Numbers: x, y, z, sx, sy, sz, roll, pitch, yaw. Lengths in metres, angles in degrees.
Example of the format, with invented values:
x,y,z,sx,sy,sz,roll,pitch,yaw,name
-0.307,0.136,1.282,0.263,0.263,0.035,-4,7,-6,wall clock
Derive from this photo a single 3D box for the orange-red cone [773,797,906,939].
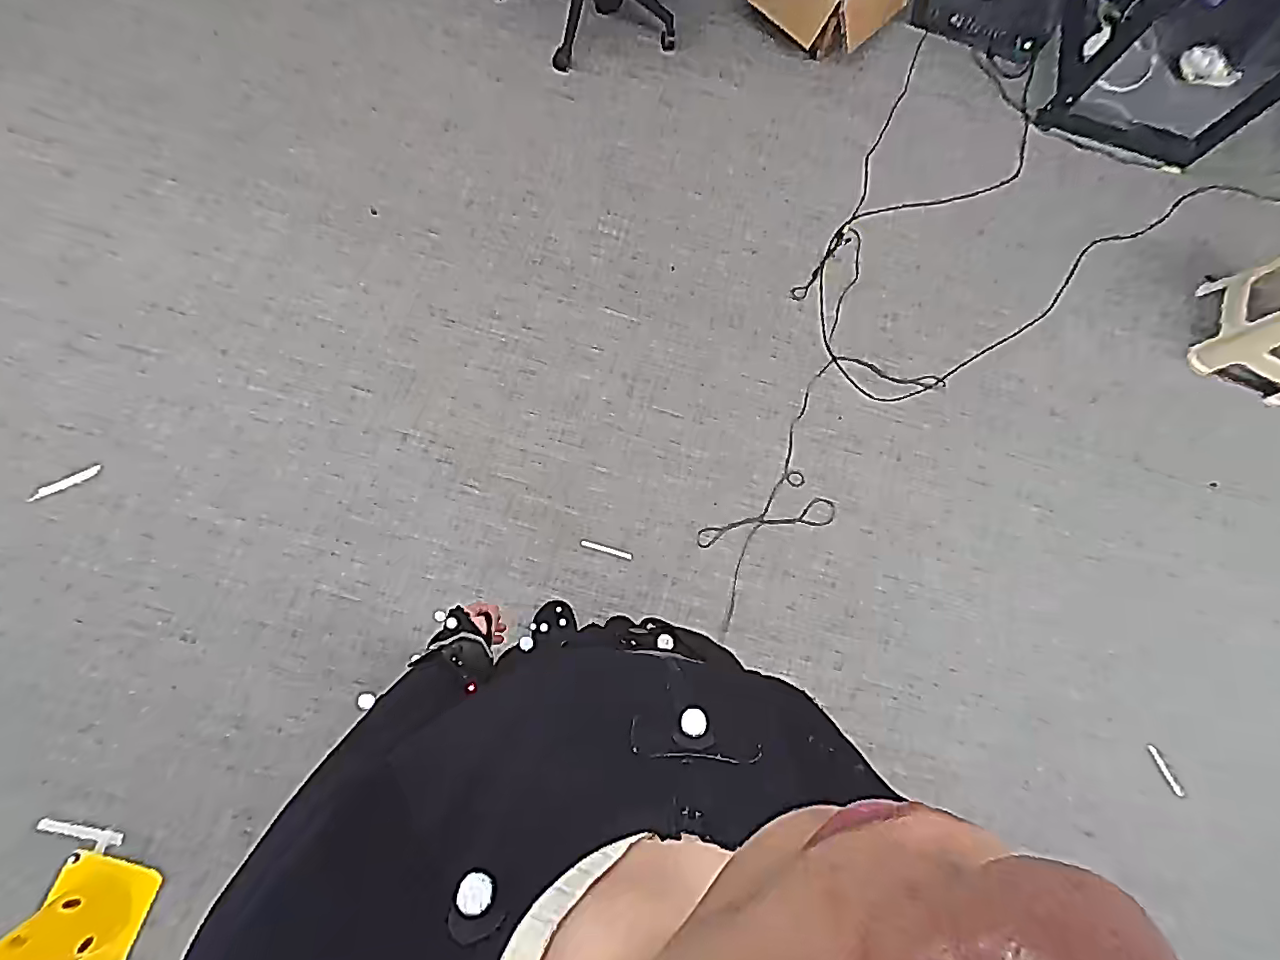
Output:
x,y,z,sx,sy,sz,roll,pitch,yaw,name
0.435,0.835,1.123,0.199,0.360,0.198,11,75,-2,orange-red cone
